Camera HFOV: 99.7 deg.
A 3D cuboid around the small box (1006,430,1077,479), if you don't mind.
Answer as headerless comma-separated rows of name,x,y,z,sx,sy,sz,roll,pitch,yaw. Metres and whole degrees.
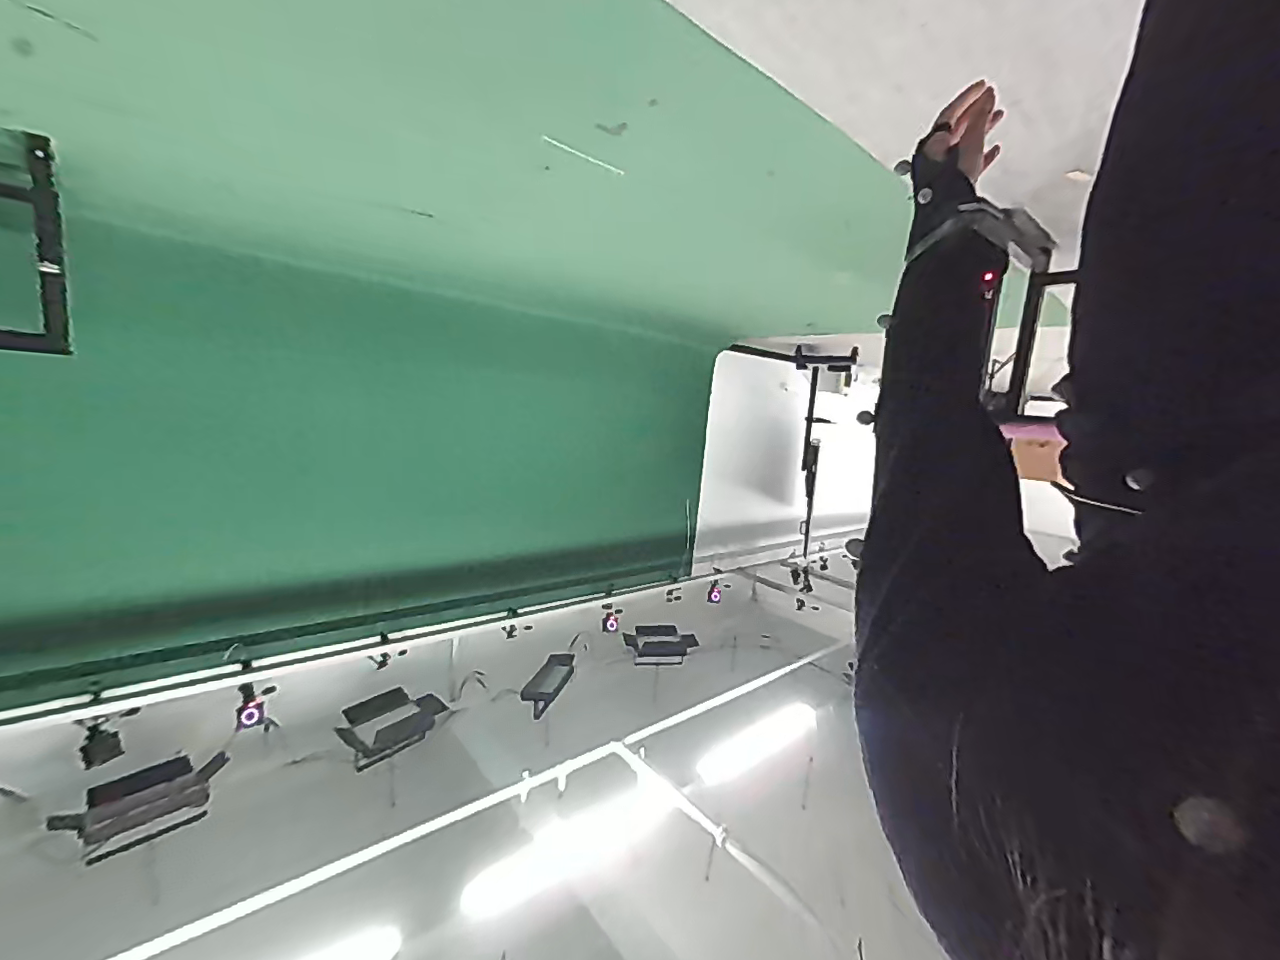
small box,1.534,-0.099,2.061,0.179,0.176,0.168,0,-173,-38
